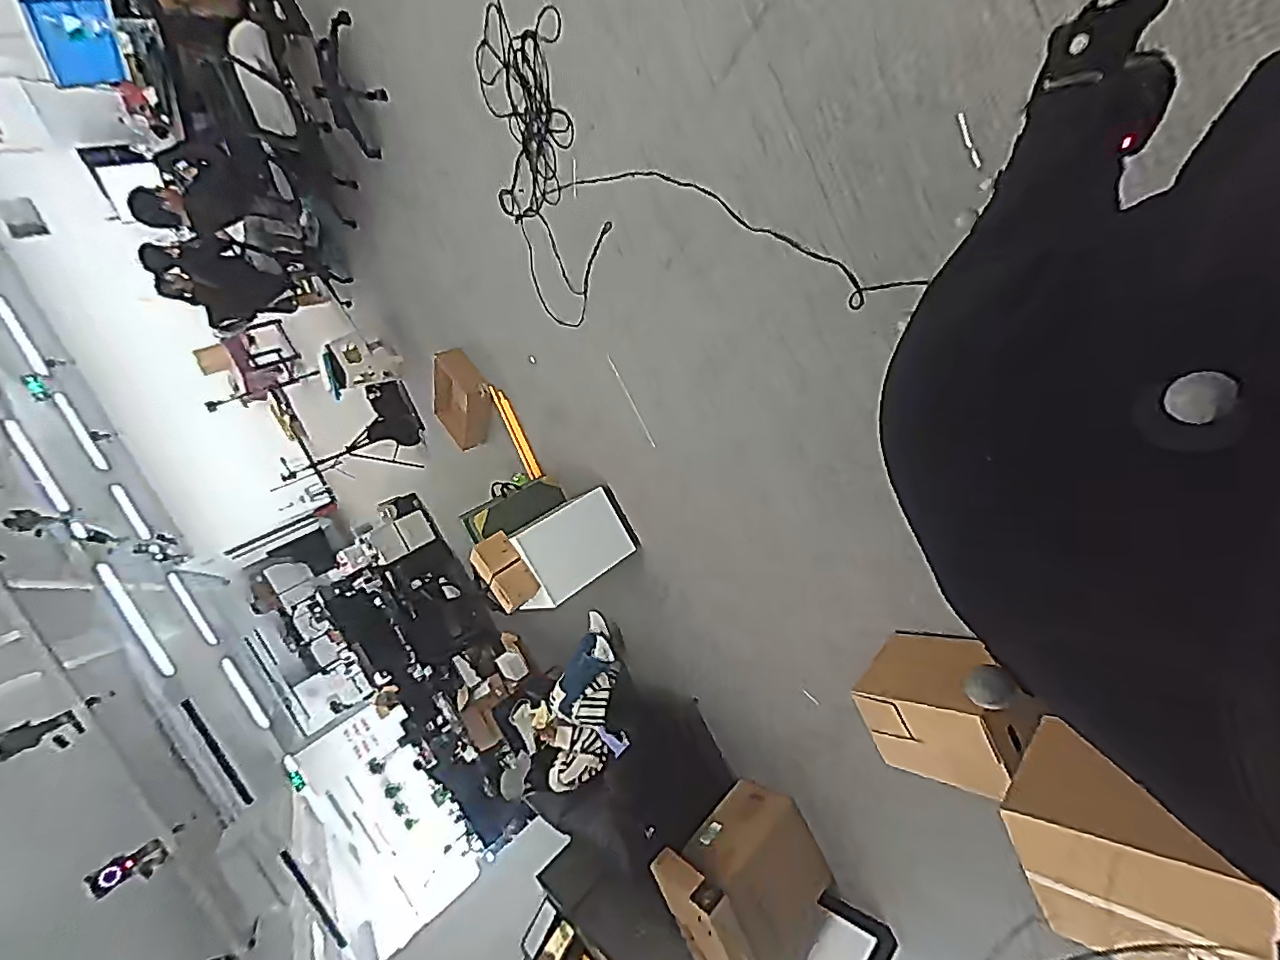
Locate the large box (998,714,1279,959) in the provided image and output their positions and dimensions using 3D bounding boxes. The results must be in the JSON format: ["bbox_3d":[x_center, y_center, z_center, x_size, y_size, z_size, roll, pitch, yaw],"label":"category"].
[{"bbox_3d":[1.022,0.711,1.061,0.408,0.320,0.320,-18,98,55],"label":"large box"}]
